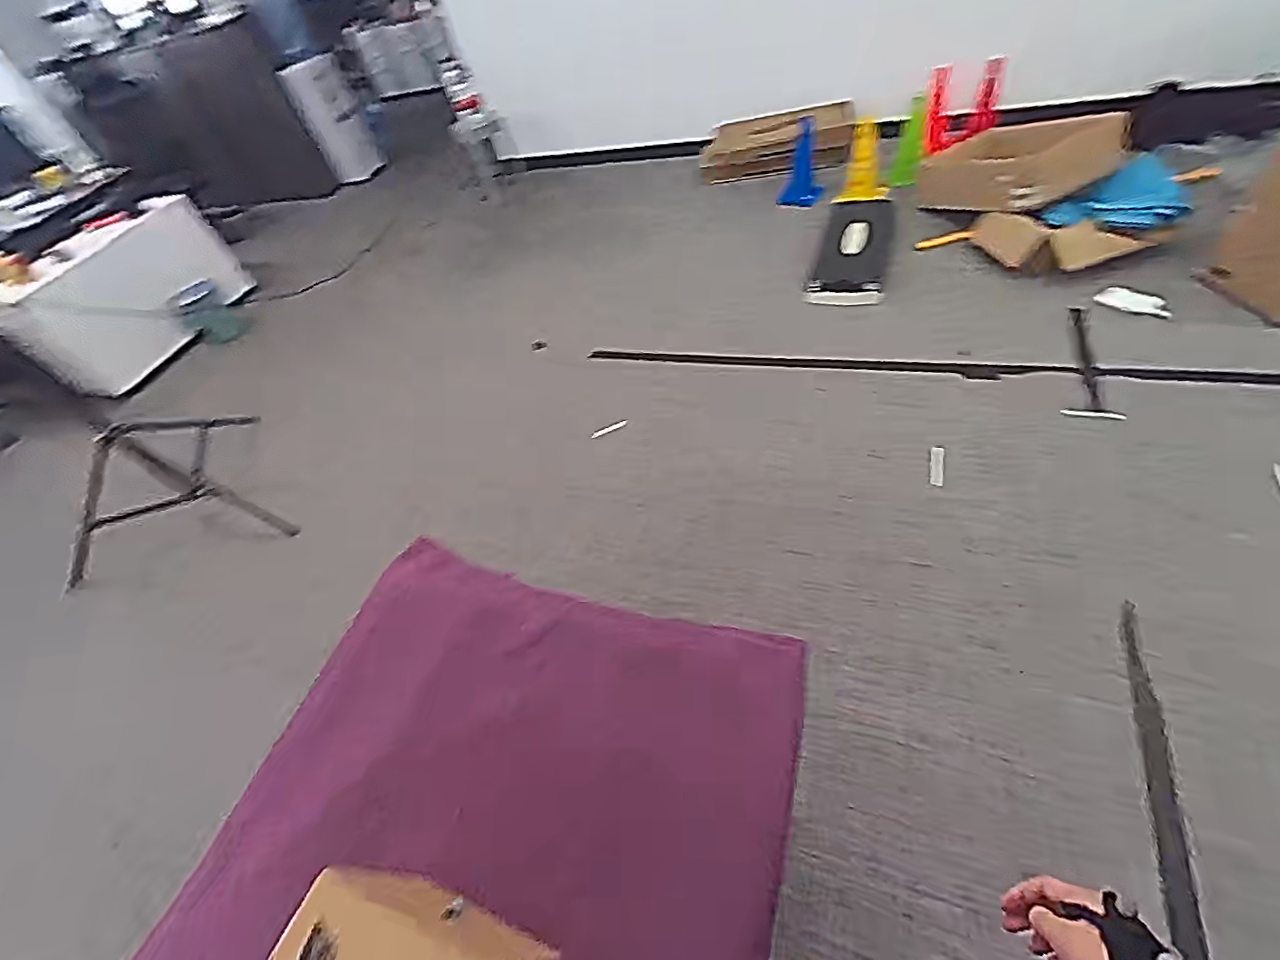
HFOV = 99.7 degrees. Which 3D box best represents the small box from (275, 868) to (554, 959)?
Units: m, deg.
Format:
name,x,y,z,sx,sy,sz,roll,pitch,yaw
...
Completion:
name,x,y,z,sx,sy,sz,roll,pitch,yaw
small box,-0.198,0.453,0.442,0.179,0.176,0.168,9,55,21
